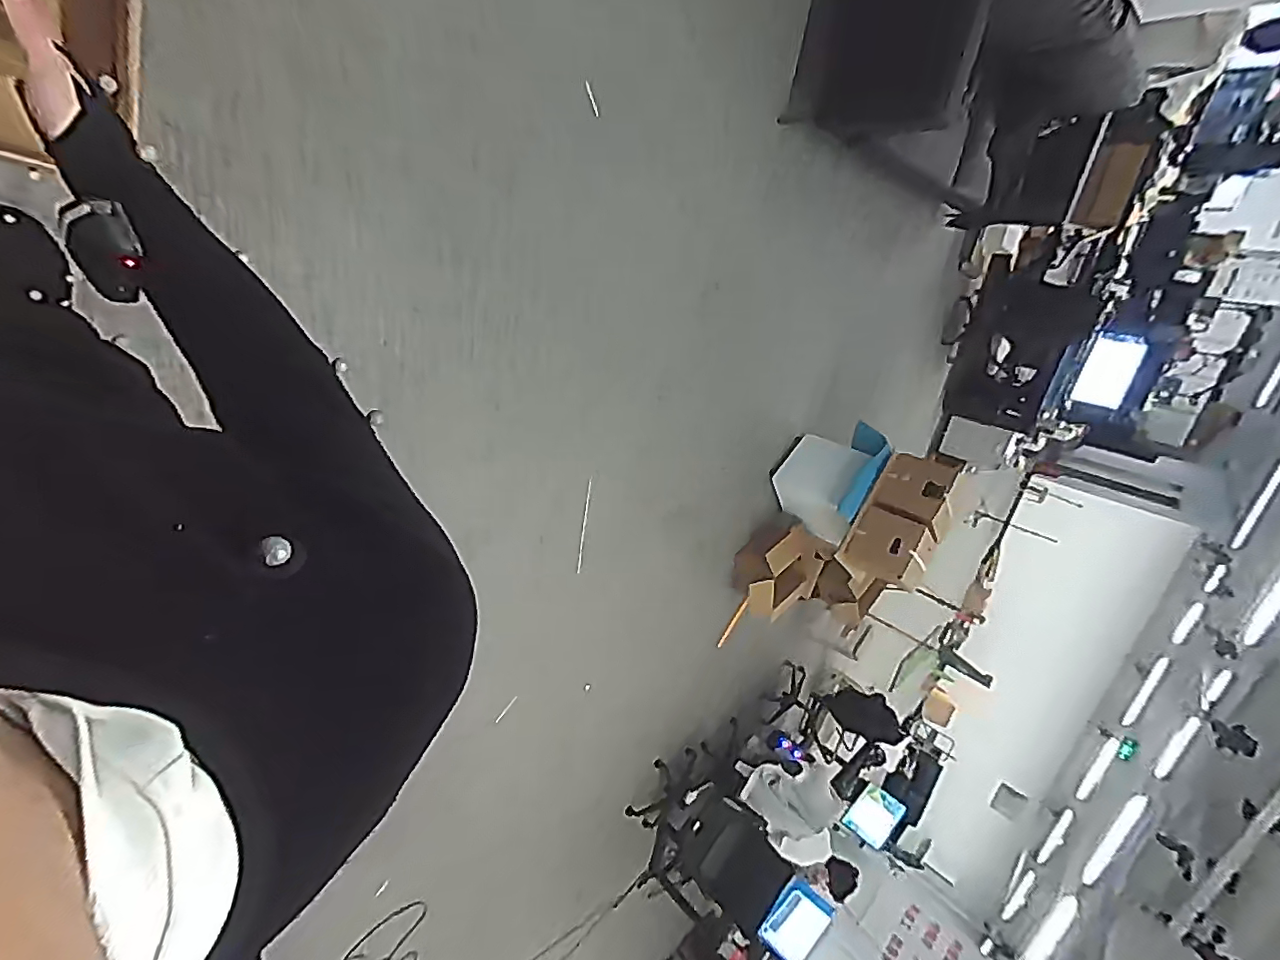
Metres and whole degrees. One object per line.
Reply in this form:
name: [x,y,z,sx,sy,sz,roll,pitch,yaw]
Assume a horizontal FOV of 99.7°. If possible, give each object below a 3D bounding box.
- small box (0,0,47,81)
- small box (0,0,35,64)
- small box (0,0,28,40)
small box: [-0.768,-0.575,0.584,0.168,0.176,0.179,5,108,-48]
small box: [-0.661,-0.515,0.478,0.168,0.176,0.179,4,109,-48]
small box: [-0.548,-0.458,0.376,0.168,0.176,0.179,4,110,-48]
